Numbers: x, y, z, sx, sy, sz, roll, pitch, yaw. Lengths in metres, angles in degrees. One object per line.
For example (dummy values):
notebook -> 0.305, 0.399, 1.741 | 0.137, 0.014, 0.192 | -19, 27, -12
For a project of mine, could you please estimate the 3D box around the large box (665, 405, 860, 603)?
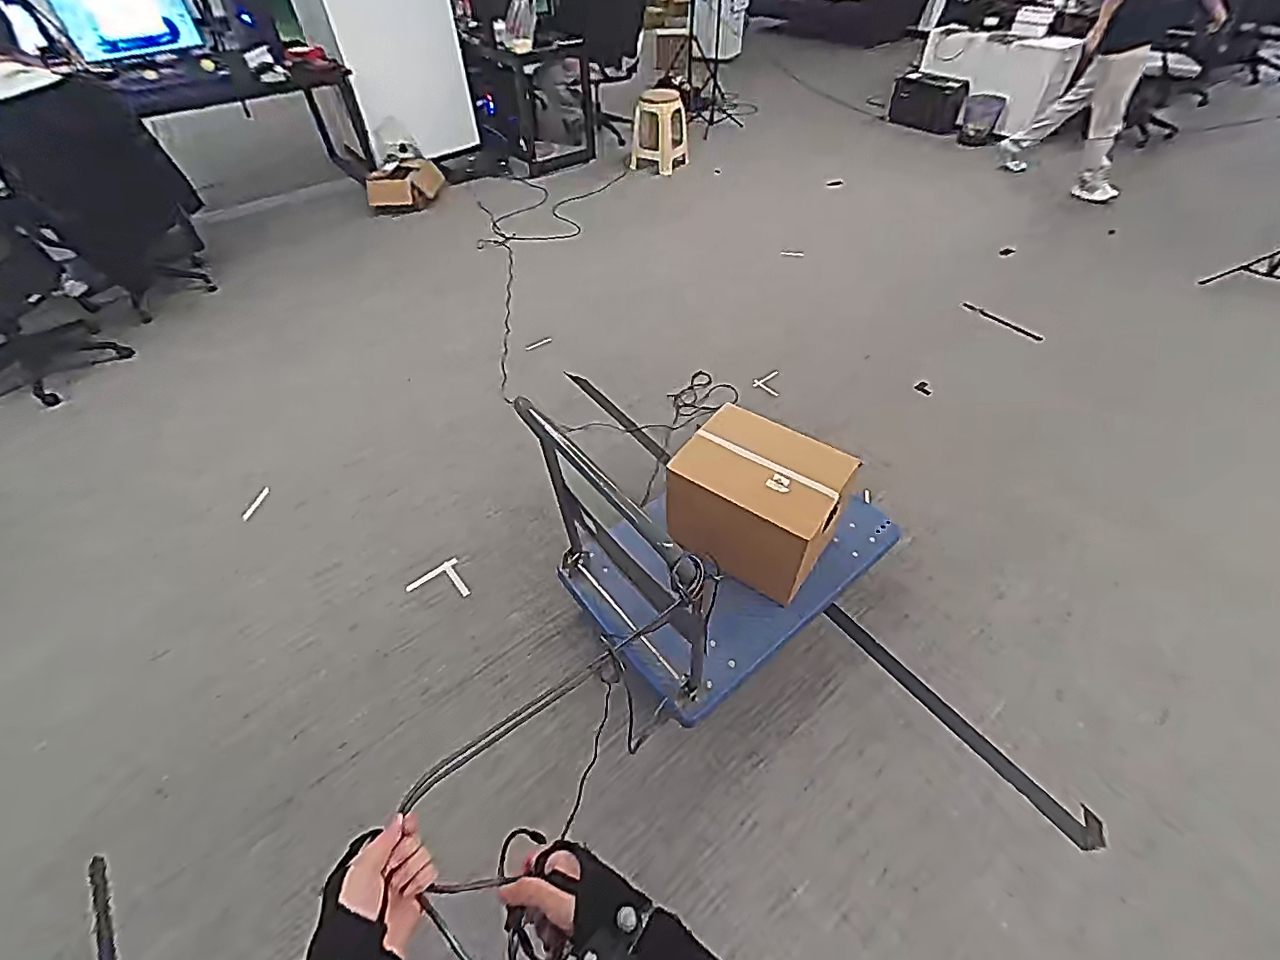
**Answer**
large box -> 0.318, 0.060, 1.491 | 0.408, 0.320, 0.320 | 29, 56, 24
